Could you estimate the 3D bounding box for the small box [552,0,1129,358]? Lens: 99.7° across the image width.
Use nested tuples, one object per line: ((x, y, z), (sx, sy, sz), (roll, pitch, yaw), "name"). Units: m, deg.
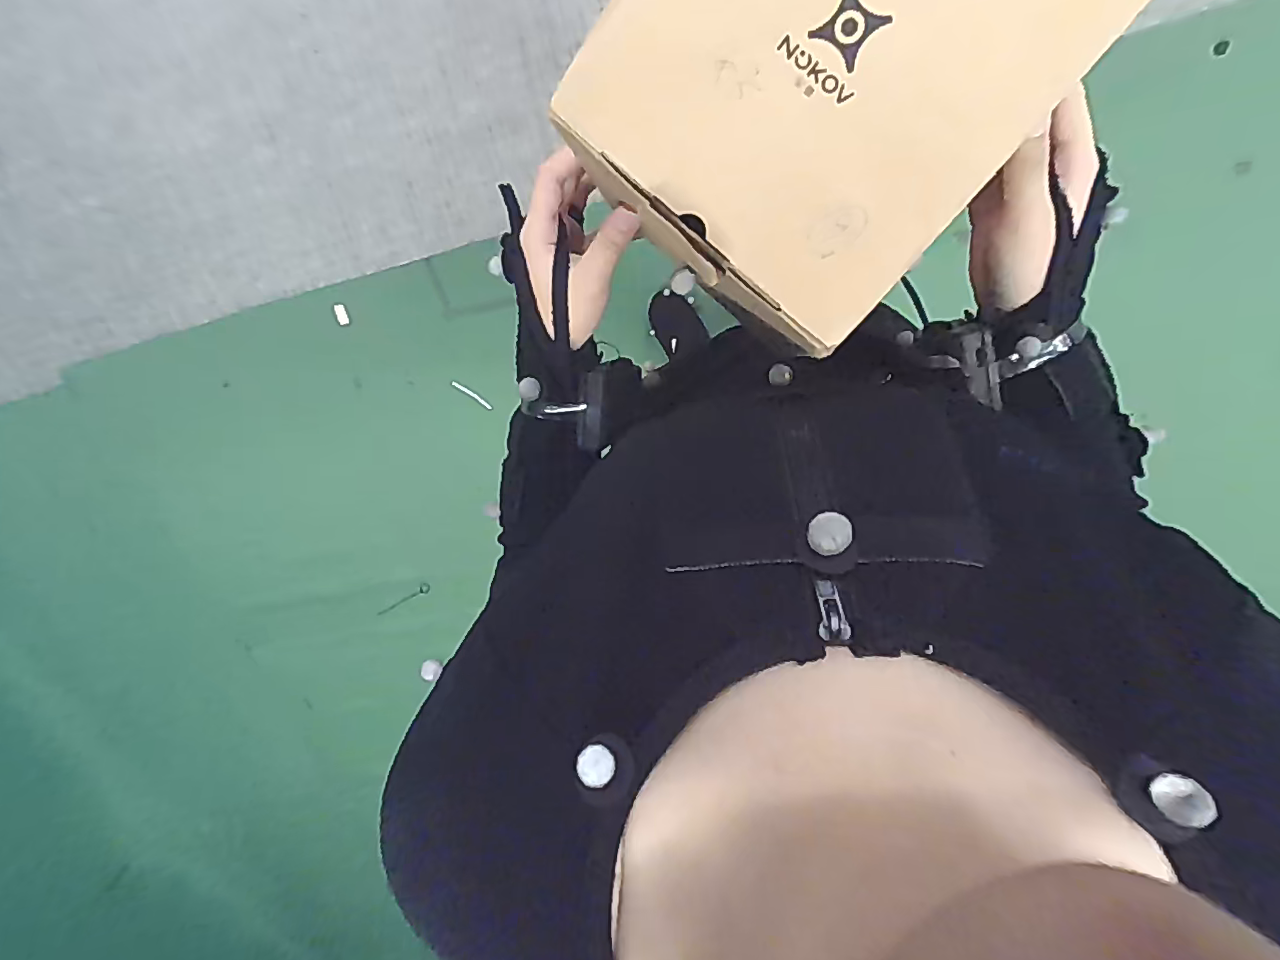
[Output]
((0.086, -0.187, 0.303), (0.168, 0.176, 0.179), (40, 106, -2), "small box")
